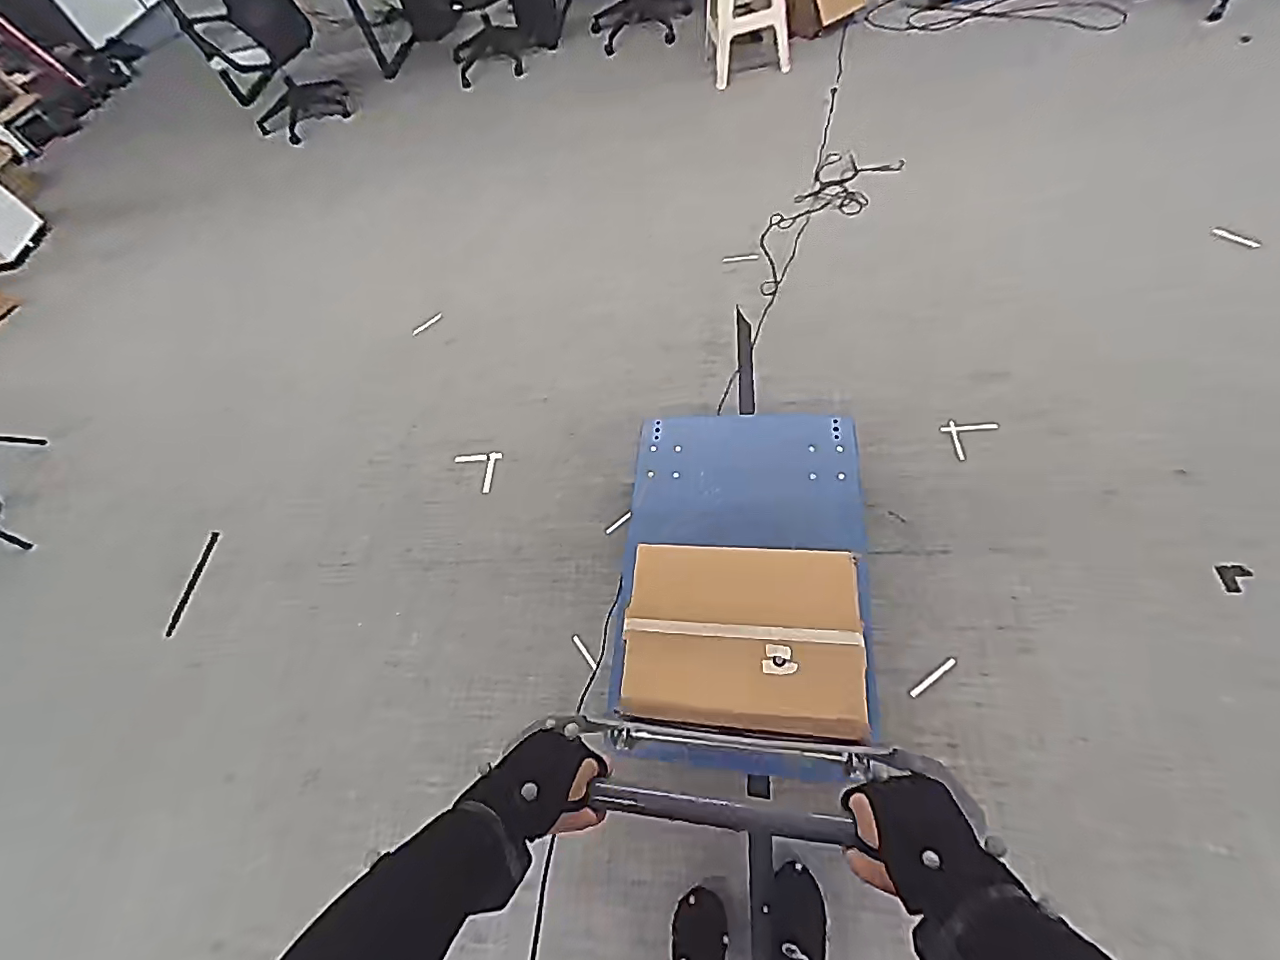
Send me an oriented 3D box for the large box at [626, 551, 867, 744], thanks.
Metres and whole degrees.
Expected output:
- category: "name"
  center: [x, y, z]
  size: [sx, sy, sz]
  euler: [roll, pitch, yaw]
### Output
- category: "large box"
  center: [0.204, 0.345, 1.096]
  size: [0.408, 0.320, 0.320]
  euler: [0, 63, 11]
